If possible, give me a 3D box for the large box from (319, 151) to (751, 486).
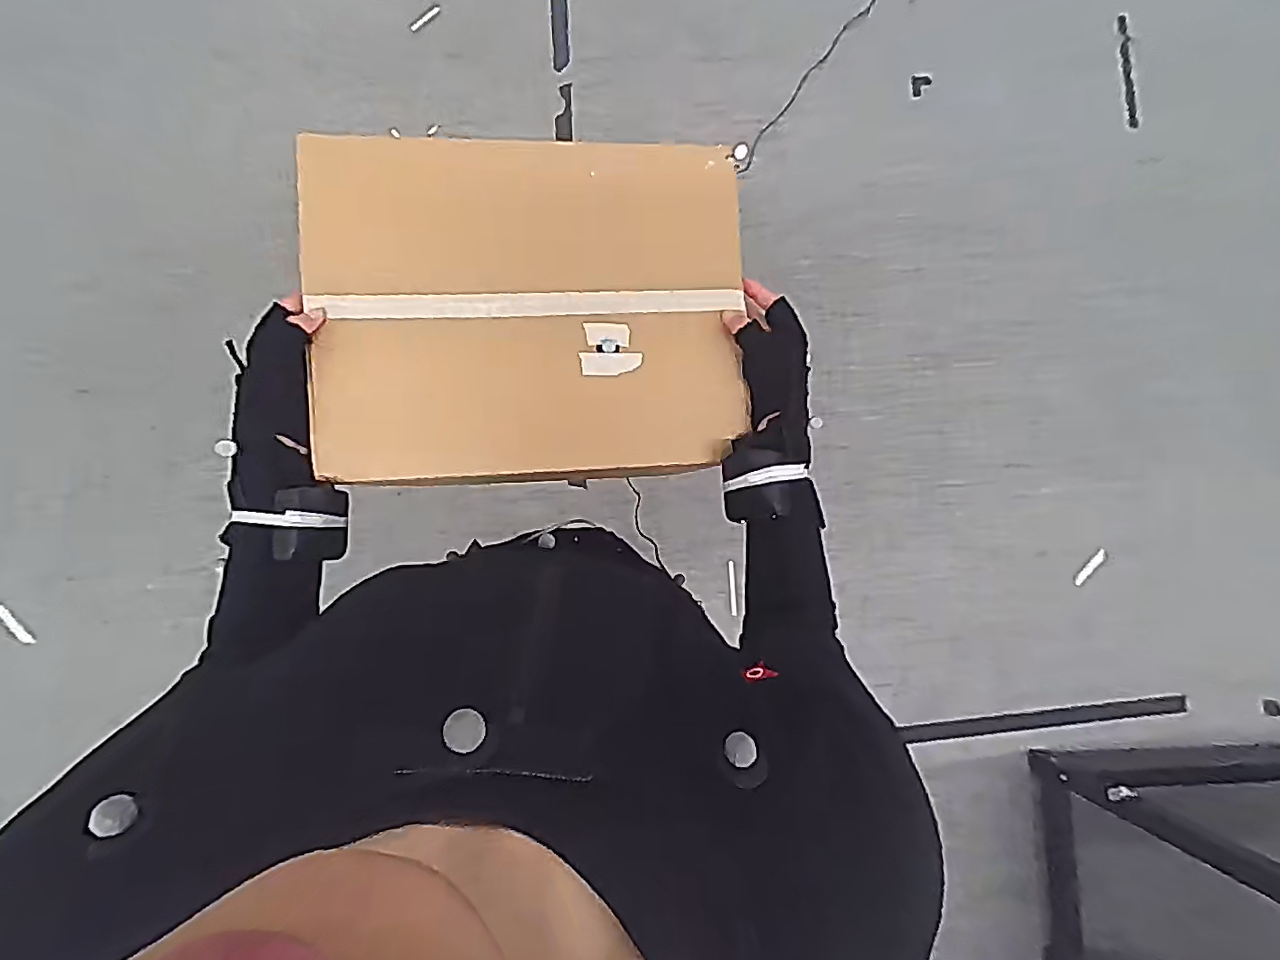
[{"bbox_3d":[-0.114,-0.161,0.671,0.408,0.320,0.320,-3,90,-8],"label":"large box"}]
